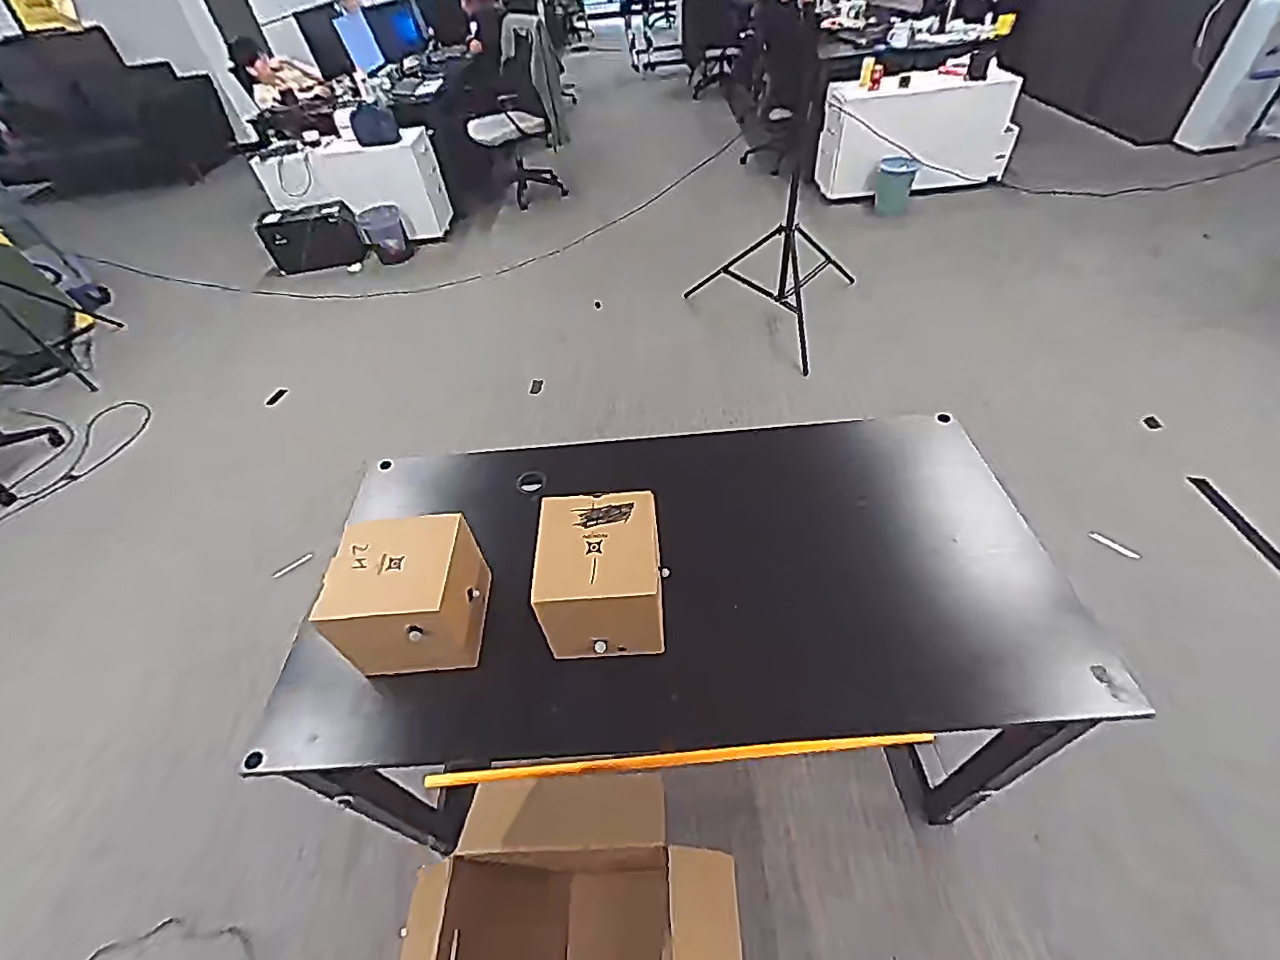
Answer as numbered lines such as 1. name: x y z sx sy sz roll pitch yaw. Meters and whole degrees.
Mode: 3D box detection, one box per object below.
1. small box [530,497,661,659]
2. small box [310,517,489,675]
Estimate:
1. small box: -0.056 0.147 0.808 0.168 0.176 0.179 -4 47 3
2. small box: -0.340 0.176 0.810 0.179 0.176 0.168 -5 46 1
